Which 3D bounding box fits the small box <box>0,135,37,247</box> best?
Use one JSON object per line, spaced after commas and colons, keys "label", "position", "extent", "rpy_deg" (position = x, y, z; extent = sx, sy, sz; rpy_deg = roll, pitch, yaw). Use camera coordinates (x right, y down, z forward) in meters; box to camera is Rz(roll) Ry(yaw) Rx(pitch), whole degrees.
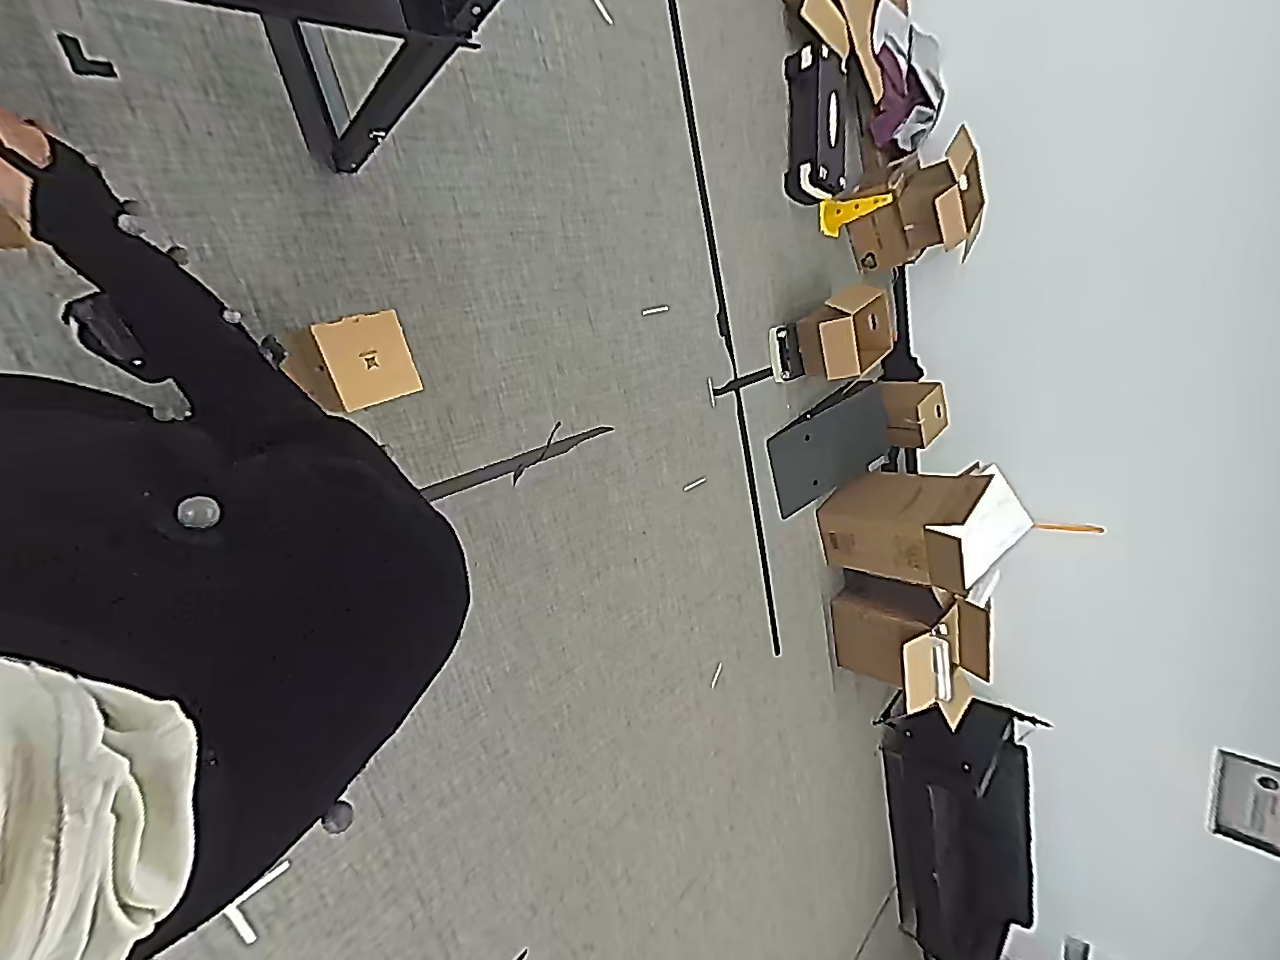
{"label": "small box", "position": [-0.648, -0.300, 0.435], "extent": [0.168, 0.176, 0.179], "rpy_deg": [-21, 100, -36]}

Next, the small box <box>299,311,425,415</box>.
{"label": "small box", "position": [-0.592, -0.247, 1.153], "extent": [0.168, 0.176, 0.179], "rpy_deg": [-30, 114, -36]}

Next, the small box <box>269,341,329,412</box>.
{"label": "small box", "position": [-0.816, -0.277, 1.389], "extent": [0.179, 0.176, 0.168], "rpy_deg": [-28, 112, -37]}
